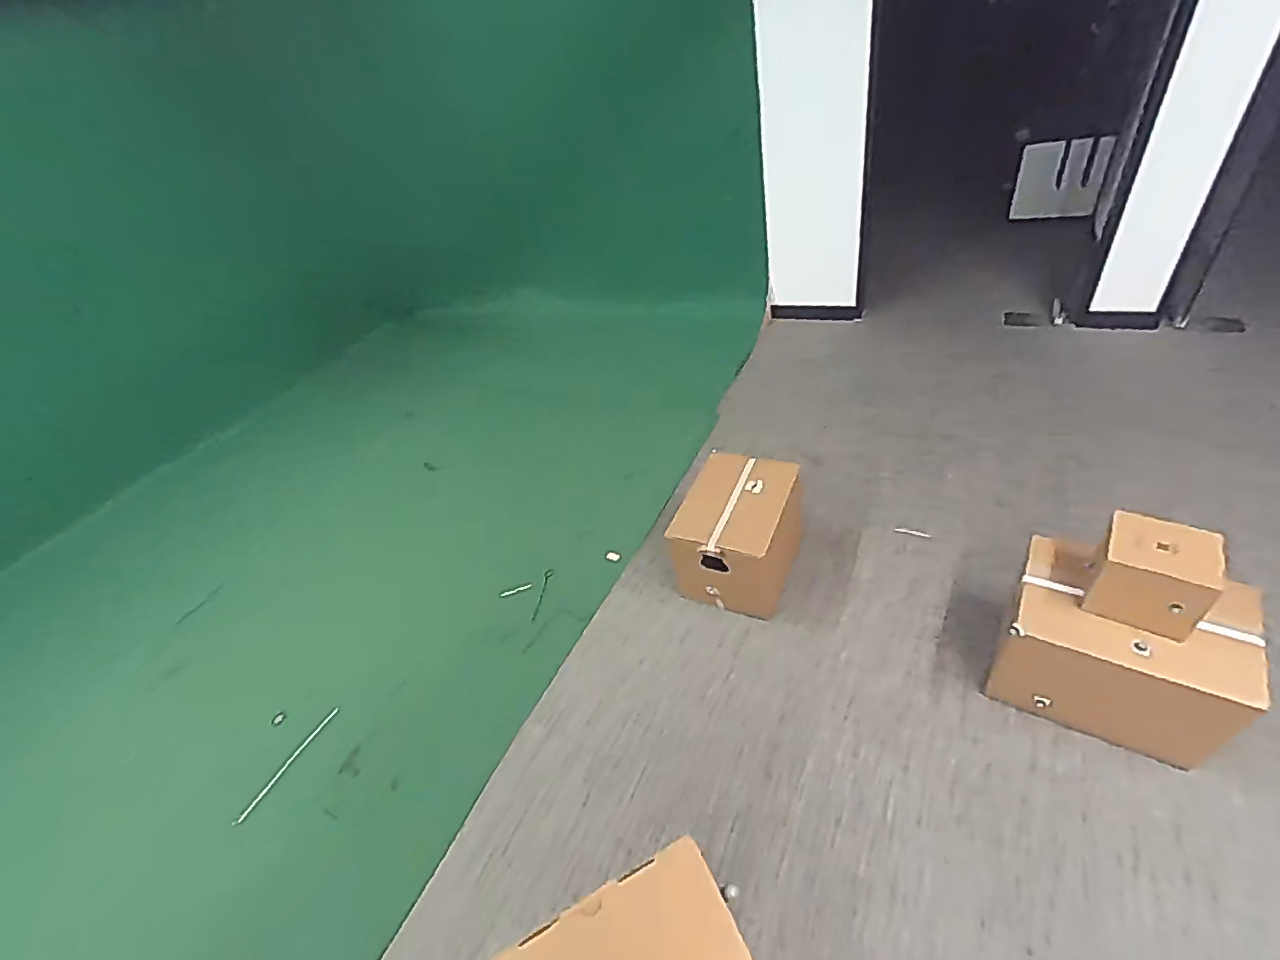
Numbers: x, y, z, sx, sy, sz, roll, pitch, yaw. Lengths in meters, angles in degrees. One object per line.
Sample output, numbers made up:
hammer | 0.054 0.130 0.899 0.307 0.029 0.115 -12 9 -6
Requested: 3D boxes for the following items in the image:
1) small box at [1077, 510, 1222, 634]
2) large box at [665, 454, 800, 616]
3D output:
small box | 1.071 0.198 1.143 0.179 0.176 0.168 19 49 34
large box | 0.322 0.170 1.779 0.320 0.320 0.408 11 46 27
